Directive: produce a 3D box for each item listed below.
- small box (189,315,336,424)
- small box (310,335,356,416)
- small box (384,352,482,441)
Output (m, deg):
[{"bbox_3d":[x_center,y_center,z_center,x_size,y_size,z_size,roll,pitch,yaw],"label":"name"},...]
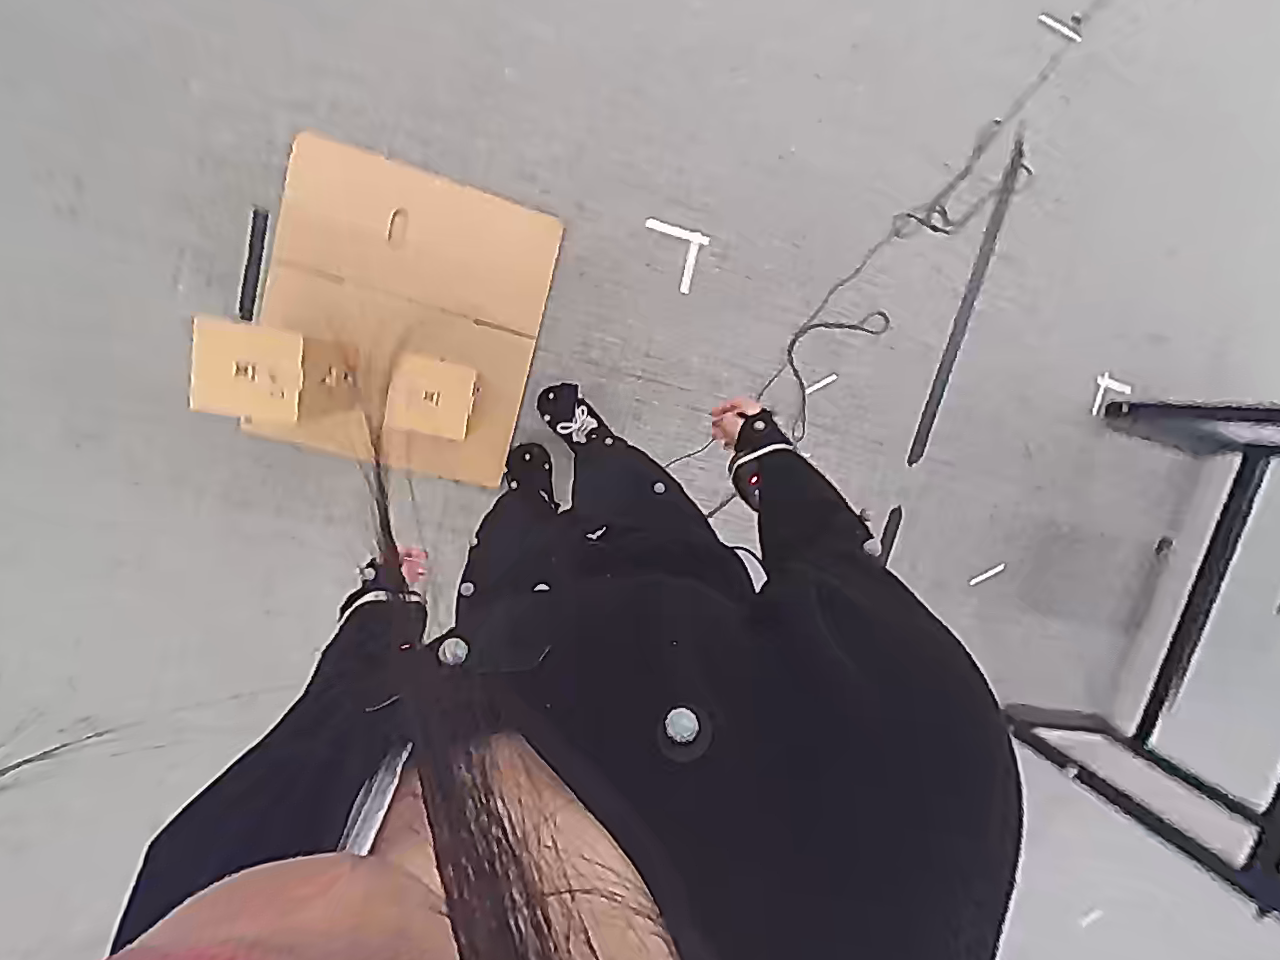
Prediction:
[{"bbox_3d":[-0.711,-0.206,1.035,0.179,0.176,0.168,8,99,-14],"label":"small box"},{"bbox_3d":[-0.744,-0.238,1.194,0.179,0.176,0.168,6,98,-14],"label":"small box"},{"bbox_3d":[-0.473,-0.194,1.262,0.179,0.176,0.168,11,97,-13],"label":"small box"}]
